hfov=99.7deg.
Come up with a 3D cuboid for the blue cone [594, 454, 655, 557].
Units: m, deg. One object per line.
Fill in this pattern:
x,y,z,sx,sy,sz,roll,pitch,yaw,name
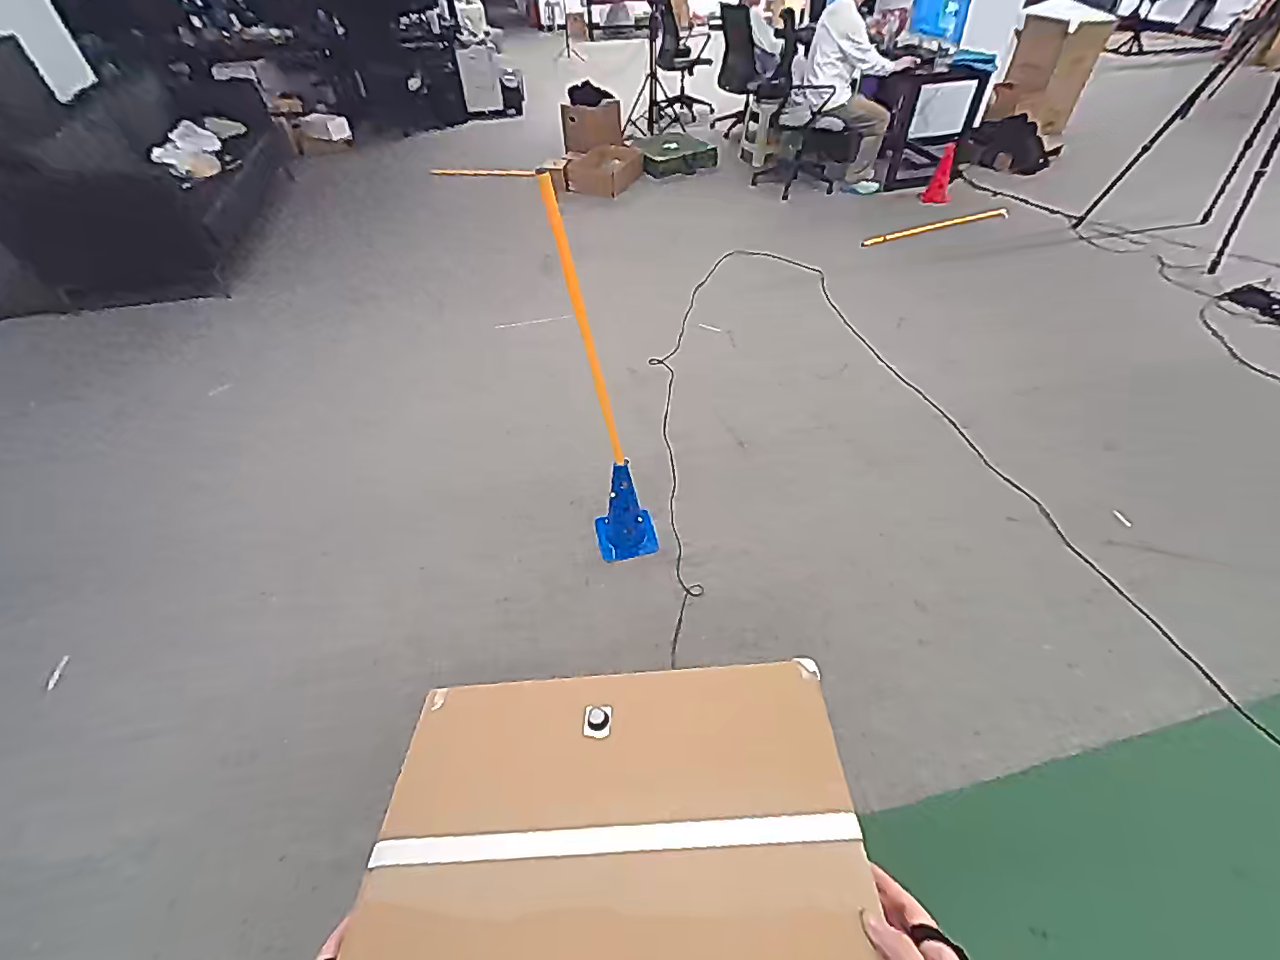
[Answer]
-0.063,0.066,1.765,0.193,0.380,0.192,-14,47,-9,blue cone
